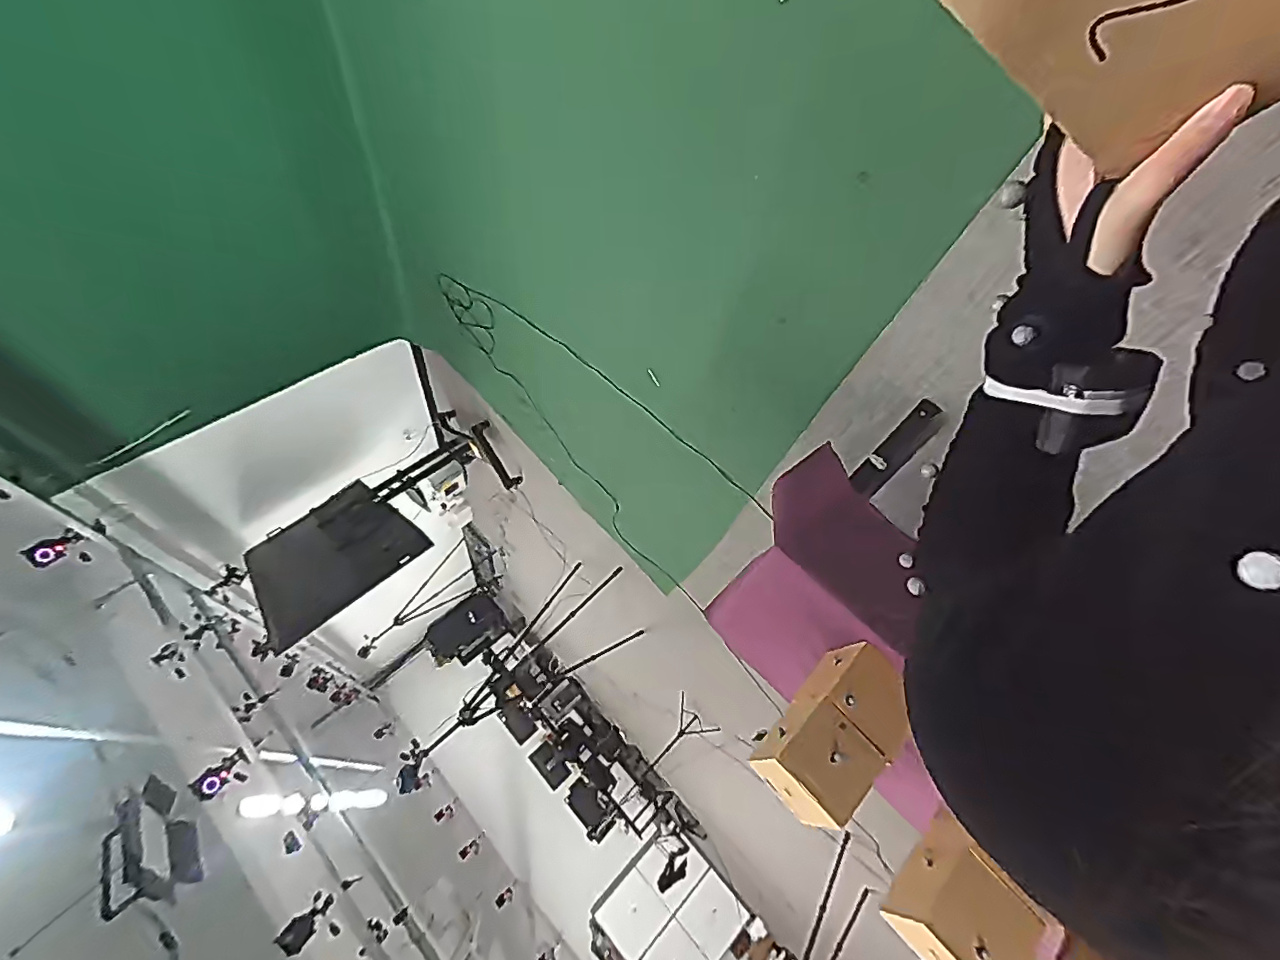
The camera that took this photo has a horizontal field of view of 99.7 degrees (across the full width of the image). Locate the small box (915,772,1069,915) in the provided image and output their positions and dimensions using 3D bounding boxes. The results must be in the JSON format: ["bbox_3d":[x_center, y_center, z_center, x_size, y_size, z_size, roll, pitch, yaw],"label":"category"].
[{"bbox_3d":[0.723,0.734,1.117,0.179,0.176,0.168,45,153,14],"label":"small box"}]

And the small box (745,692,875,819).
[{"bbox_3d":[0.356,0.567,1.125,0.168,0.176,0.179,46,152,14],"label":"small box"}]

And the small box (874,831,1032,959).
[{"bbox_3d":[0.605,0.828,1.050,0.179,0.176,0.168,44,152,17],"label":"small box"}]

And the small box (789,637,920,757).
[{"bbox_3d":[0.474,0.478,1.198,0.179,0.176,0.168,47,153,11],"label":"small box"}]
